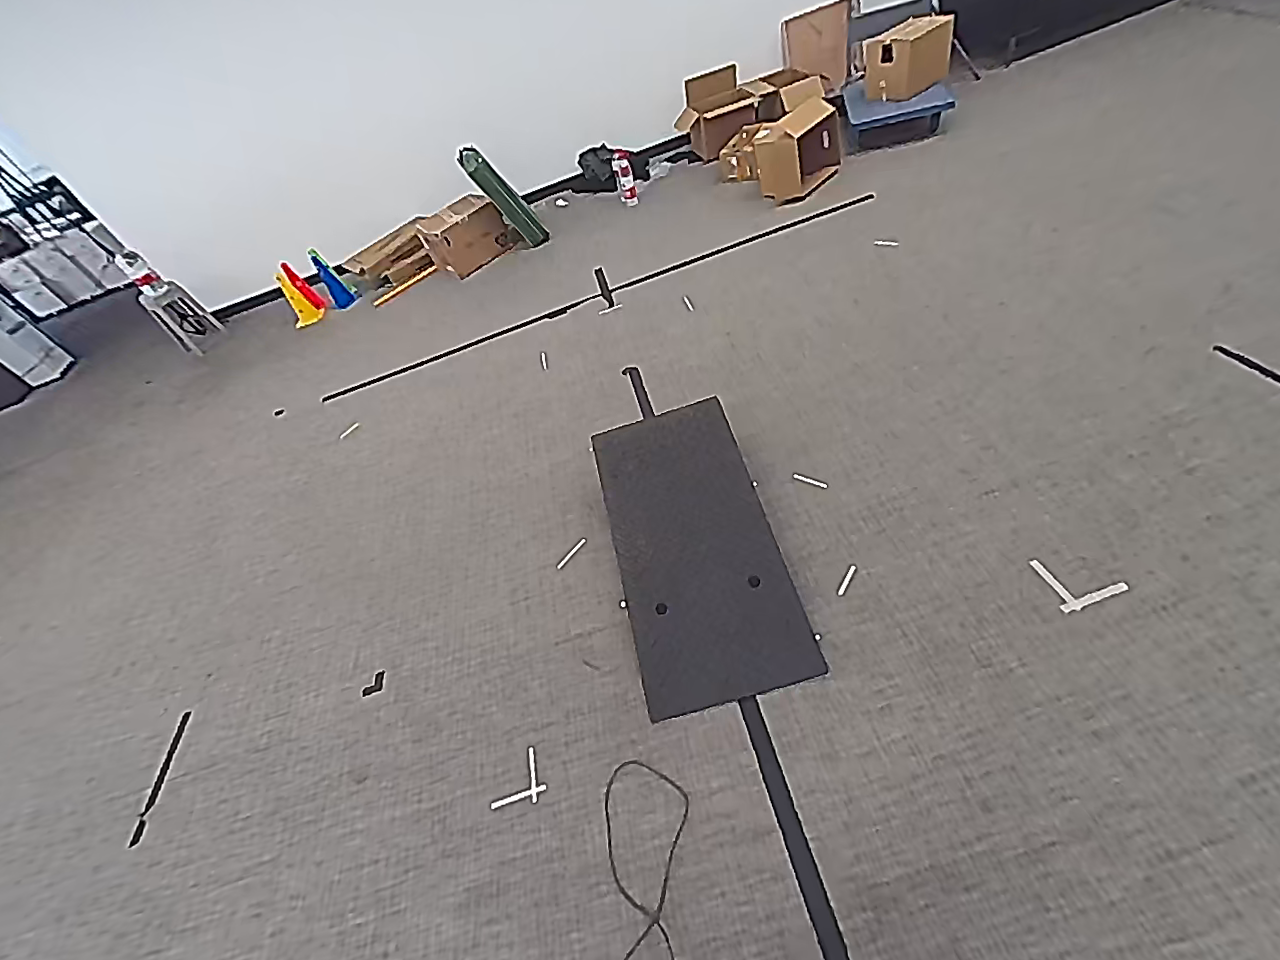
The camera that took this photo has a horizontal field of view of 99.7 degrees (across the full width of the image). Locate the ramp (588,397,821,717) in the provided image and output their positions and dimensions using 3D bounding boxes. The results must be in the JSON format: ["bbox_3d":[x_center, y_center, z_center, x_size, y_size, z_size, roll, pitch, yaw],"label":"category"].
[{"bbox_3d":[0.148,0.170,1.711,0.509,0.206,0.991,-18,46,2],"label":"ramp"}]
